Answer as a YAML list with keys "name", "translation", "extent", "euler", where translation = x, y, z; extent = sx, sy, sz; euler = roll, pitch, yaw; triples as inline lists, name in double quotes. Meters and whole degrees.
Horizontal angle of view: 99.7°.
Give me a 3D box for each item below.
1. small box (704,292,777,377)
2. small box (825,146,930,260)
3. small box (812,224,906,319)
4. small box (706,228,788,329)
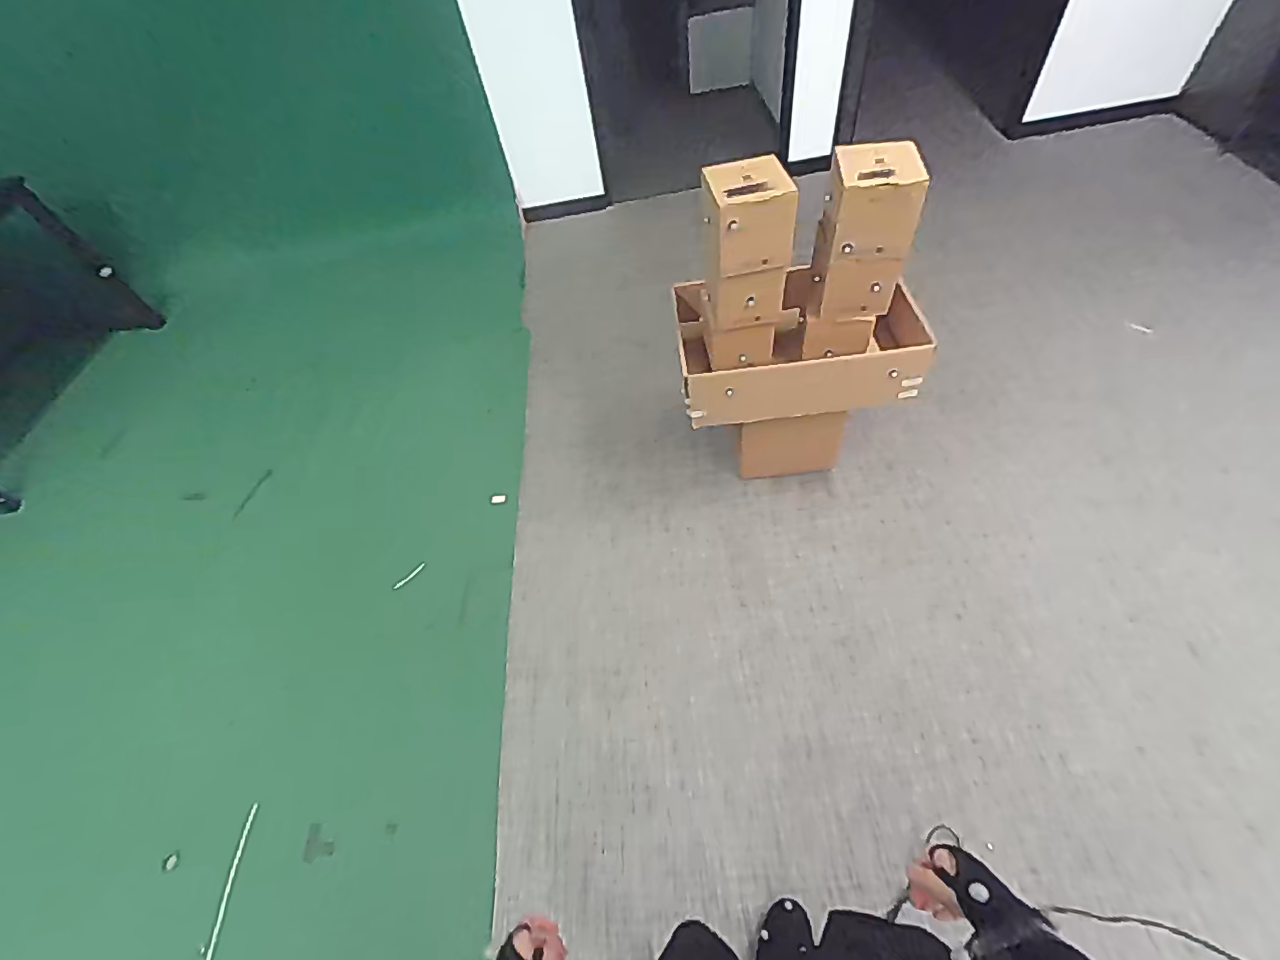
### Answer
- name: "small box"
  translation: [0.271, -0.410, 1.490]
  extent: [0.168, 0.176, 0.179]
  euler: [-9, 54, 2]
- name: "small box"
  translation: [0.512, -0.603, 1.191]
  extent: [0.168, 0.176, 0.179]
  euler: [1, 54, 8]
- name: "small box"
  translation: [0.527, -0.510, 1.325]
  extent: [0.168, 0.176, 0.179]
  euler: [-1, 54, 7]
- name: "small box"
  translation: [0.262, -0.495, 1.350]
  extent: [0.168, 0.176, 0.179]
  euler: [-8, 54, 1]
